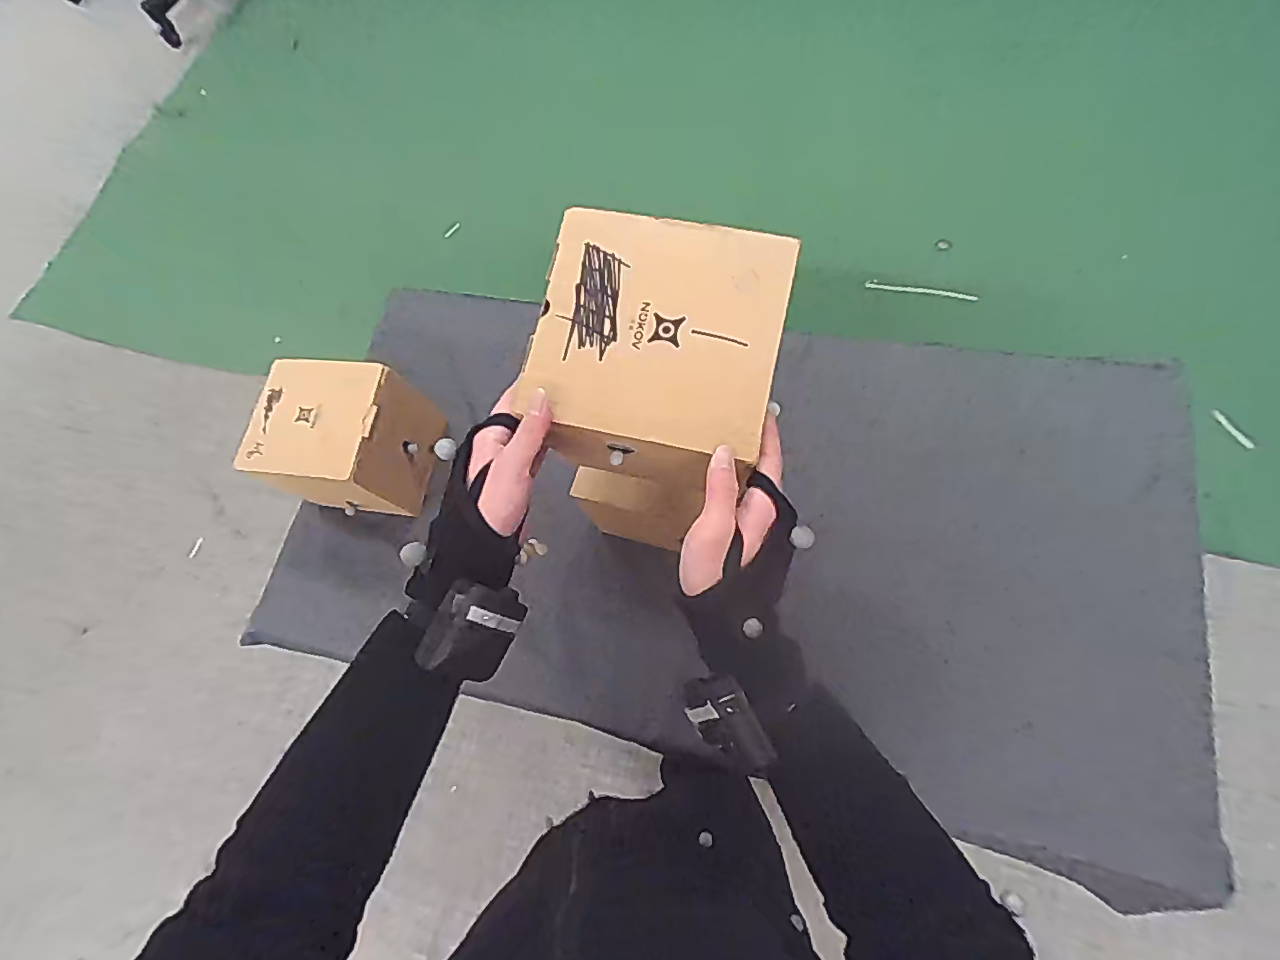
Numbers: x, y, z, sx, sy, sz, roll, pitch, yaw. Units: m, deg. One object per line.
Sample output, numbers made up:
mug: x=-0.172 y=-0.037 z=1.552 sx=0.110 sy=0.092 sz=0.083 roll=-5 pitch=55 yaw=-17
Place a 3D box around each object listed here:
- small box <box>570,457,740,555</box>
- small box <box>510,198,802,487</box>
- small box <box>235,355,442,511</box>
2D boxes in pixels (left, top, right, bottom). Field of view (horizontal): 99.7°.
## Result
small box: x=0.037 y=-0.012 z=0.691 sx=0.179 sy=0.176 sz=0.168 roll=13 pitch=72 yaw=14
small box: x=0.019 y=-0.099 z=0.454 sx=0.179 sy=0.176 sz=0.168 roll=13 pitch=81 yaw=8
small box: x=-0.415 y=-0.060 z=0.779 sx=0.179 sy=0.176 sz=0.168 roll=6 pitch=72 yaw=10
